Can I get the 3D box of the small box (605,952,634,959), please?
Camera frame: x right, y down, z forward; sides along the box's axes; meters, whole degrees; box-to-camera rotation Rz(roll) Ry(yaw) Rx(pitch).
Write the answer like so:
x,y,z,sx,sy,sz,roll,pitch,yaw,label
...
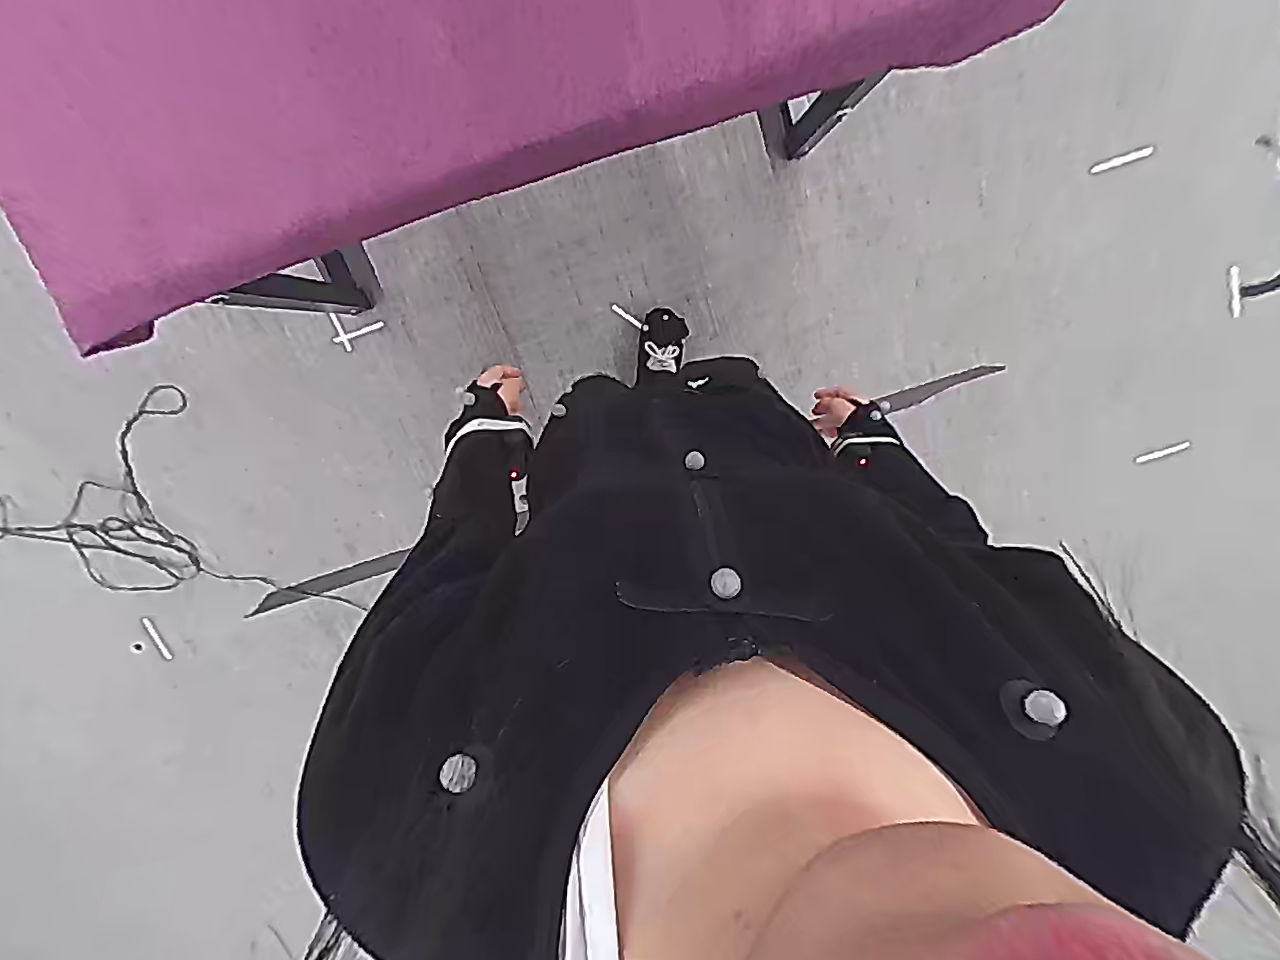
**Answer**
x,y,z,sx,sy,sz,roll,pitch,yaw,label
-0.050,1.446,1.469,0.168,0.176,0.179,32,101,-10,small box
